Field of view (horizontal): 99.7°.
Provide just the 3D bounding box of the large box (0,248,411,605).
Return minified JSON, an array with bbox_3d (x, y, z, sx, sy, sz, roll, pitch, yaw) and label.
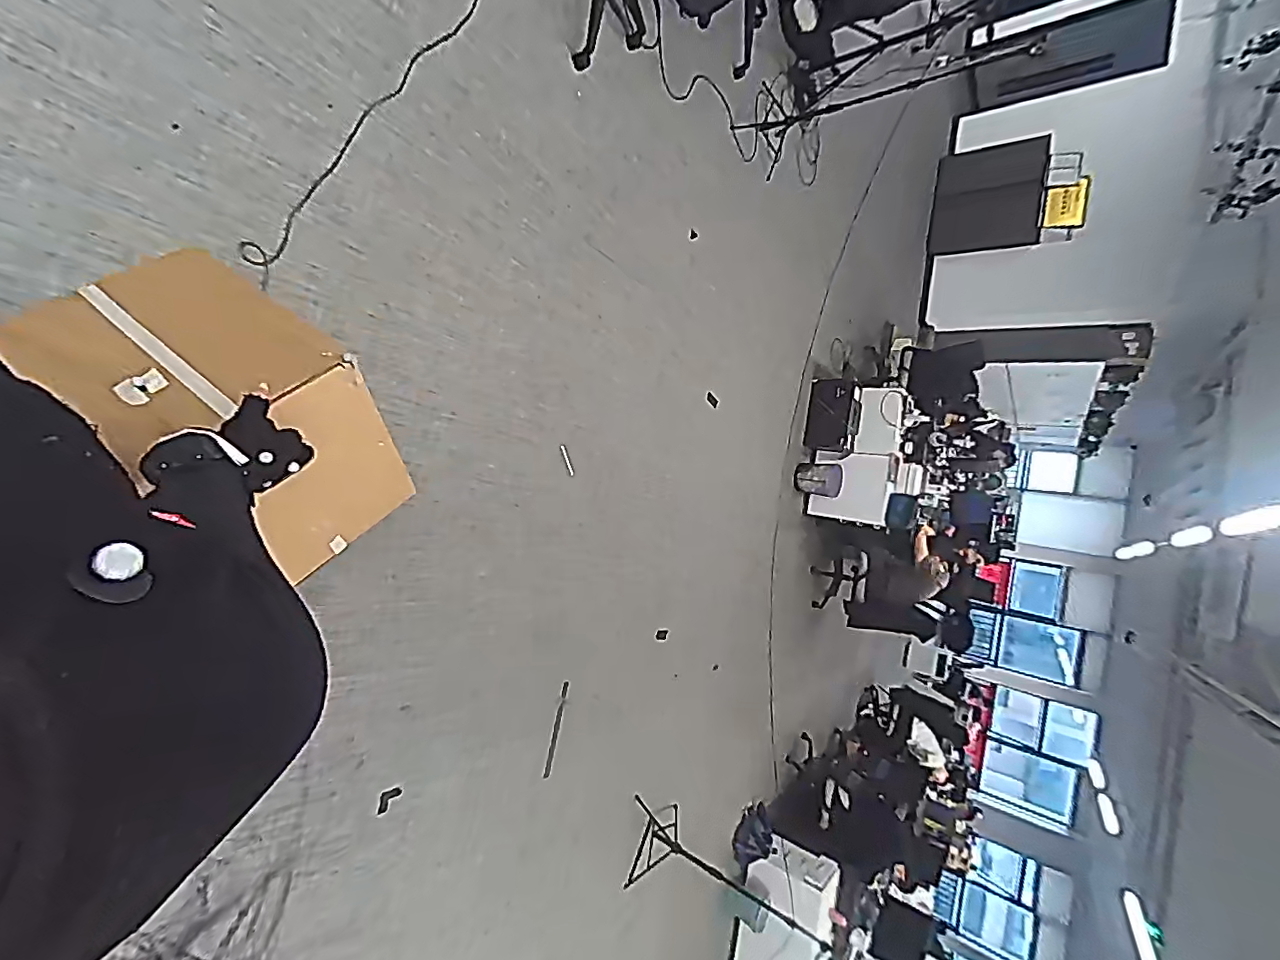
[{"bbox_3d":[-0.643,-0.085,0.840,0.320,0.408,0.320,-46,159,-29],"label":"large box"}]
